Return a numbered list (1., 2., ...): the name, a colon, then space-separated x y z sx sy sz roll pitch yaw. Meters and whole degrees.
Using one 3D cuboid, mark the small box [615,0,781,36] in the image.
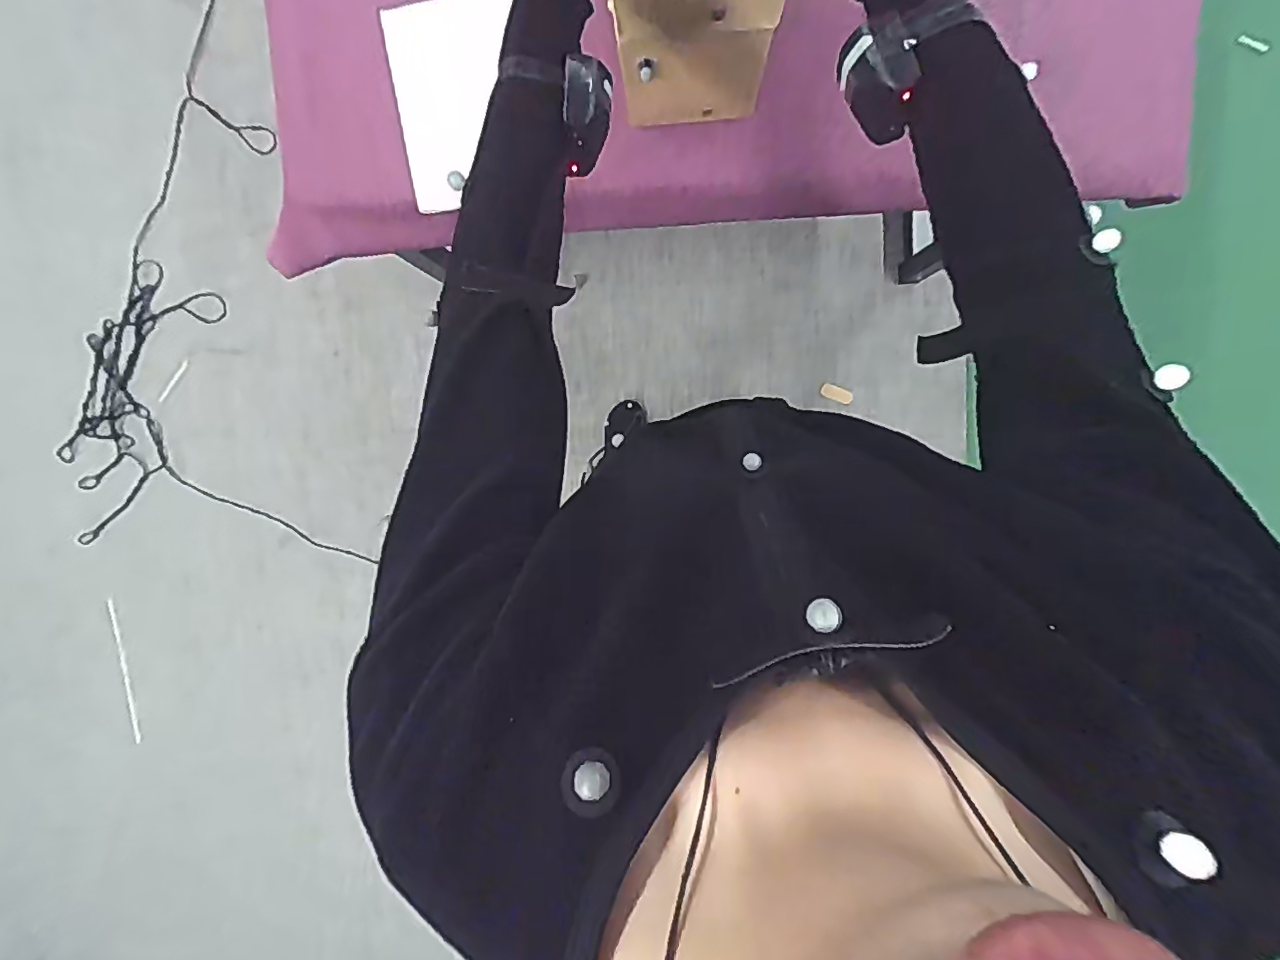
1. small box: 0.052 -0.532 0.473 0.168 0.176 0.179 -2 97 4
